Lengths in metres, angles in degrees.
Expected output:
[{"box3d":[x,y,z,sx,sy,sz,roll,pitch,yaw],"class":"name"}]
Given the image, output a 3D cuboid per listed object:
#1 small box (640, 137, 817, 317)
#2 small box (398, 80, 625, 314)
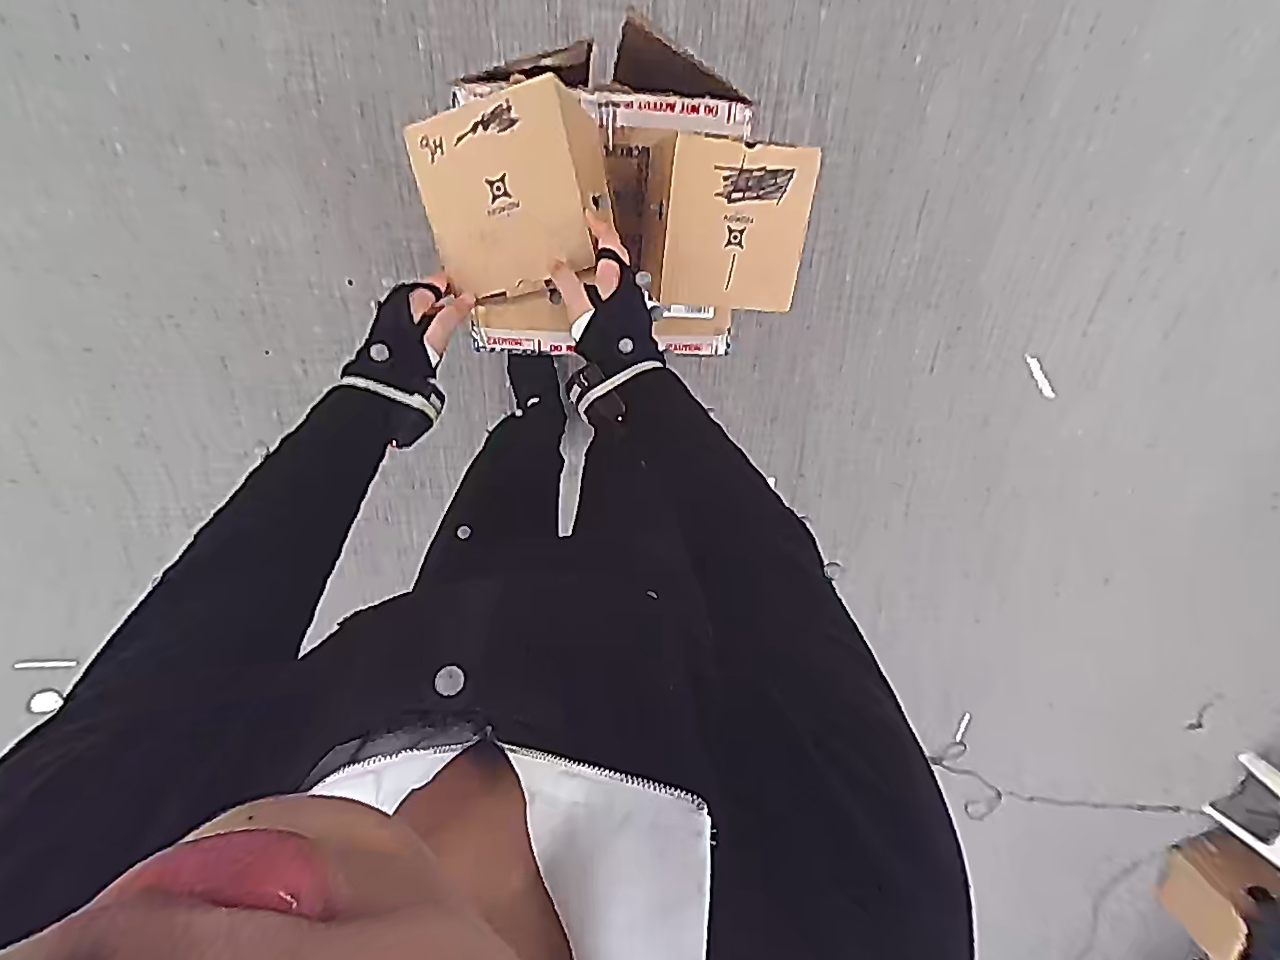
[{"box3d":[0.096,-0.316,0.687,0.168,0.176,0.179,1,117,-10],"class":"small box"},{"box3d":[-0.126,-0.298,0.608,0.168,0.176,0.179,-11,106,14],"class":"small box"}]
